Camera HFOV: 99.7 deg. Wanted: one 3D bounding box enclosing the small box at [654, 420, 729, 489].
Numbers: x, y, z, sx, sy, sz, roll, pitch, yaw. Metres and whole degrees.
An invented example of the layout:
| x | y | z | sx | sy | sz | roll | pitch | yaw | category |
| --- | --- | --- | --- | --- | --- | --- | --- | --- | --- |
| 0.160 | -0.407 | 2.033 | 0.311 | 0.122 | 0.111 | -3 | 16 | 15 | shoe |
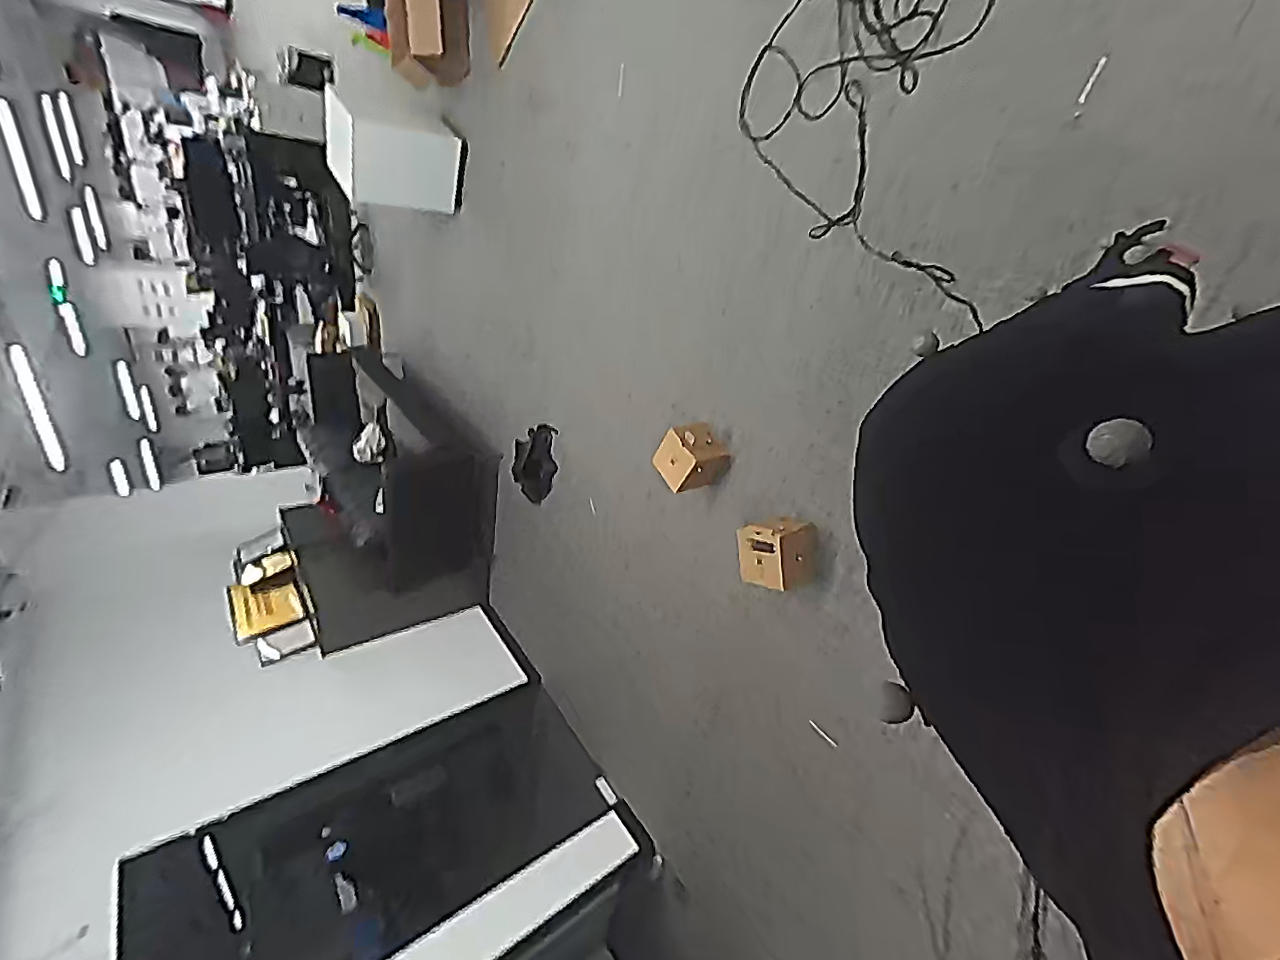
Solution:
| x | y | z | sx | sy | sz | roll | pitch | yaw | category |
| --- | --- | --- | --- | --- | --- | --- | --- | --- | --- |
| 0.186 | -0.094 | 1.931 | 0.168 | 0.176 | 0.179 | 56 | 138 | 26 | small box |
